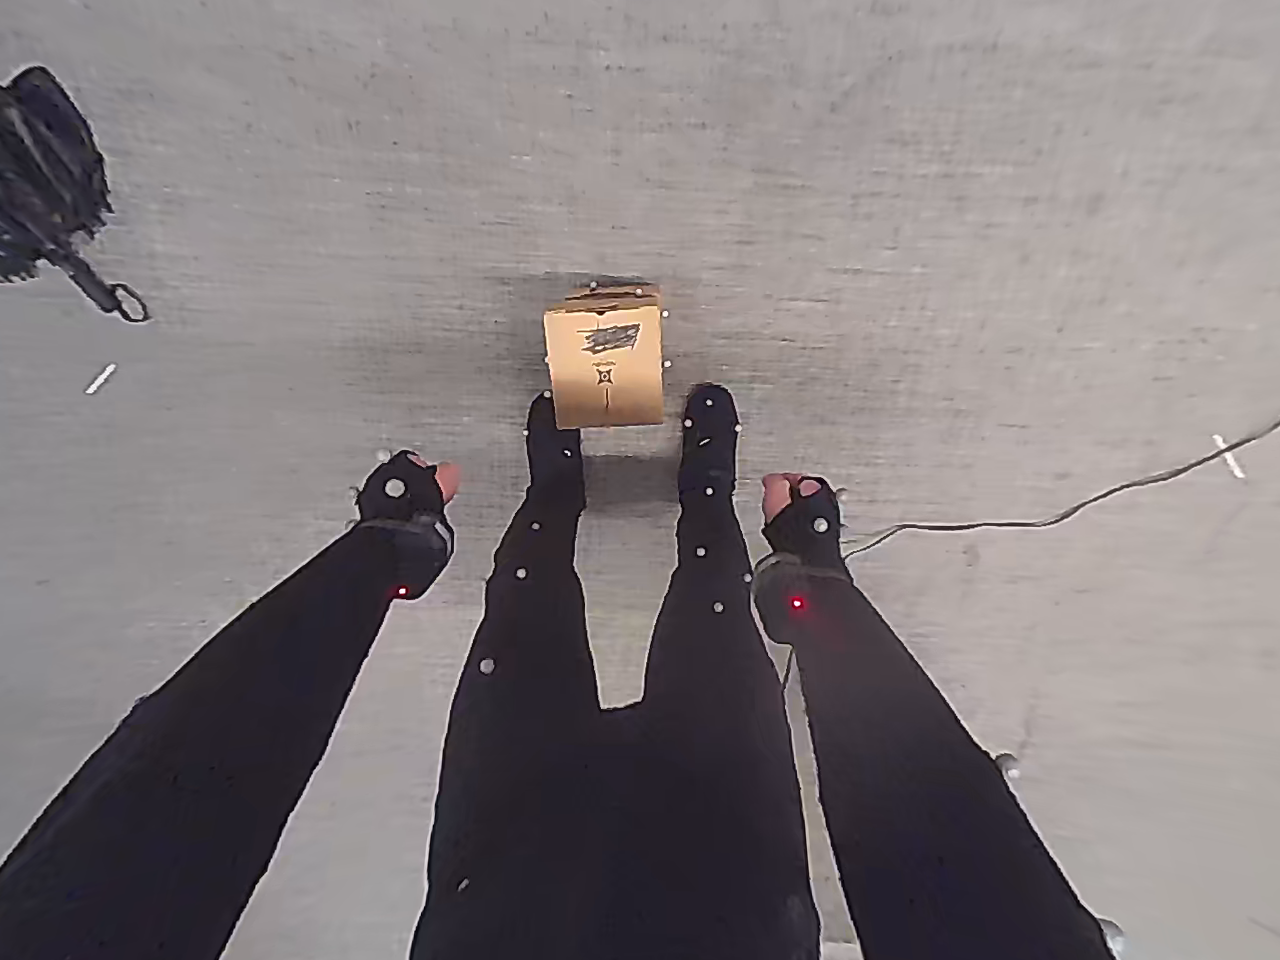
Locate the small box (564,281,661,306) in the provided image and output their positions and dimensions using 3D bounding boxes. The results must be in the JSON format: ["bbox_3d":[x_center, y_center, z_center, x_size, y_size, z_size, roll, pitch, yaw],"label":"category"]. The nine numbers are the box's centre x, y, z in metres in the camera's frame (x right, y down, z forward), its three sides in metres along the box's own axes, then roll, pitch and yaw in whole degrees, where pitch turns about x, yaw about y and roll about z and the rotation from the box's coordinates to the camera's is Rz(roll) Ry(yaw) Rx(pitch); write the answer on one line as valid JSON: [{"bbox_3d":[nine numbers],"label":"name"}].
[{"bbox_3d":[-0.045,-0.273,1.006,0.168,0.176,0.179,-1,116,2],"label":"small box"}]

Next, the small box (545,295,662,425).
[{"bbox_3d":[-0.050,-0.198,0.860,0.168,0.176,0.179,-1,115,2],"label":"small box"}]
